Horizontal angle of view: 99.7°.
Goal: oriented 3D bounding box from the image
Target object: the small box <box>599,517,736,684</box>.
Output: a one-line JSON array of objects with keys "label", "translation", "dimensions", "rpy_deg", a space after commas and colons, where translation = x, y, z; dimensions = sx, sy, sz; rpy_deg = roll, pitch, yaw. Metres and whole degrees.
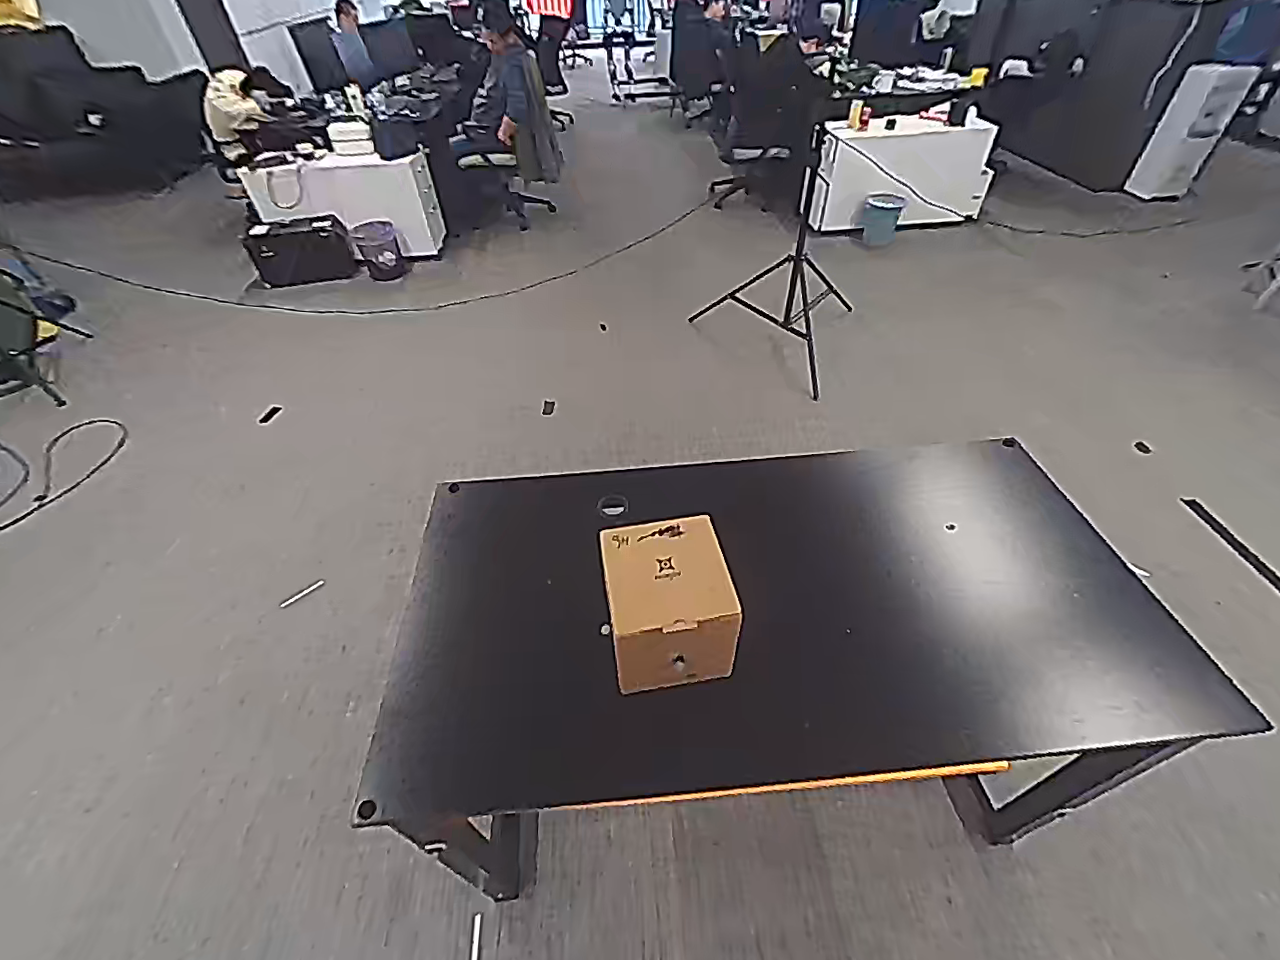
[{"label": "small box", "translation": [0.036, 0.183, 0.798], "dimensions": [0.168, 0.176, 0.179], "rpy_deg": [-8, 45, -5]}]
